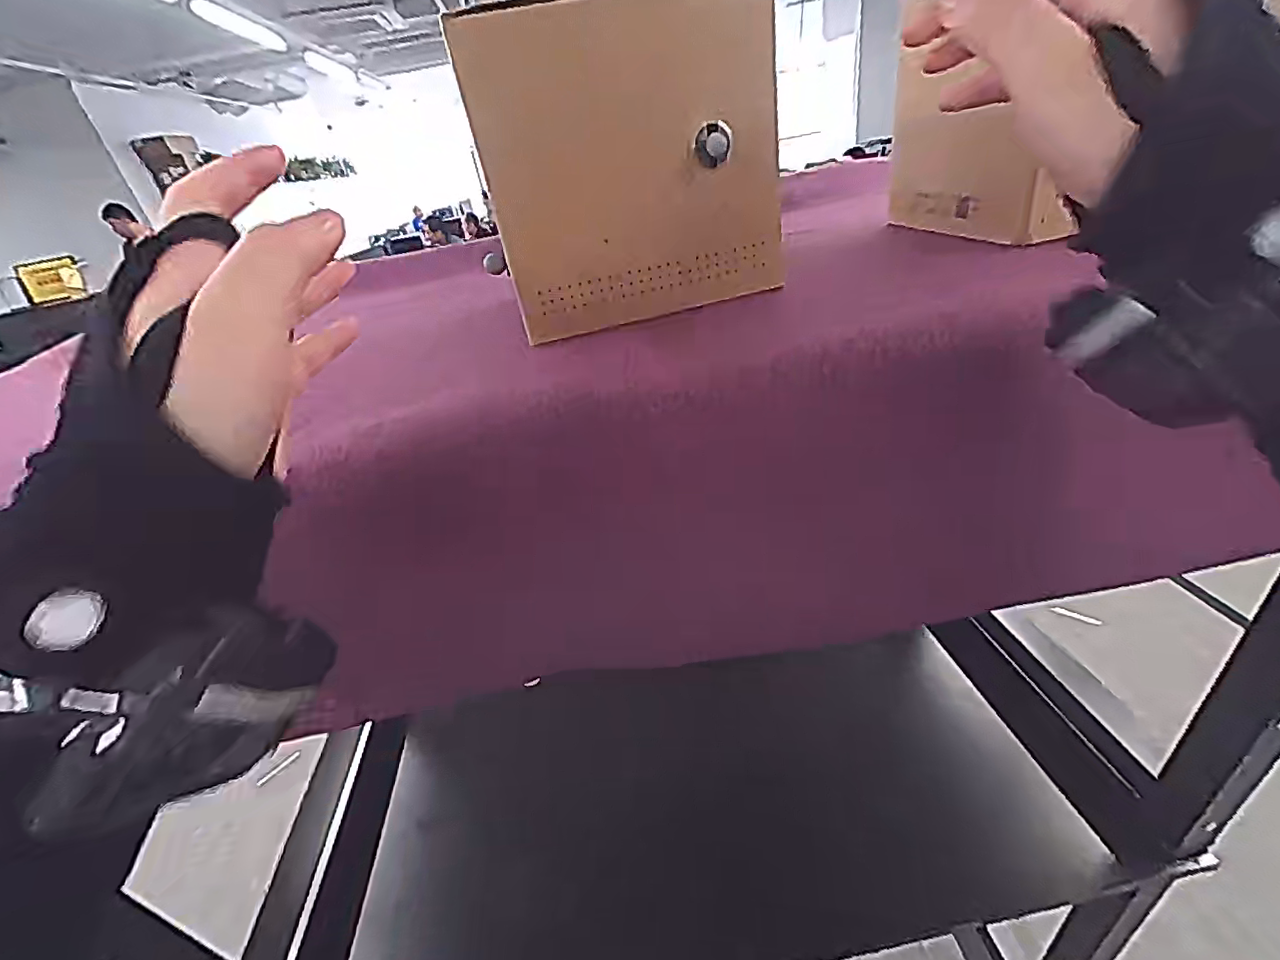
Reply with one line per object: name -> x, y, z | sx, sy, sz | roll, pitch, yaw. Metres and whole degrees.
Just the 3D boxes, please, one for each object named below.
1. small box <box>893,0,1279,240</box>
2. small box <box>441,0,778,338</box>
small box -> 0.300, -0.277, 0.371 | 0.179, 0.176, 0.168 | -12, 30, -2
small box -> -0.018, -0.215, 0.377 | 0.179, 0.176, 0.168 | -16, 31, -7
